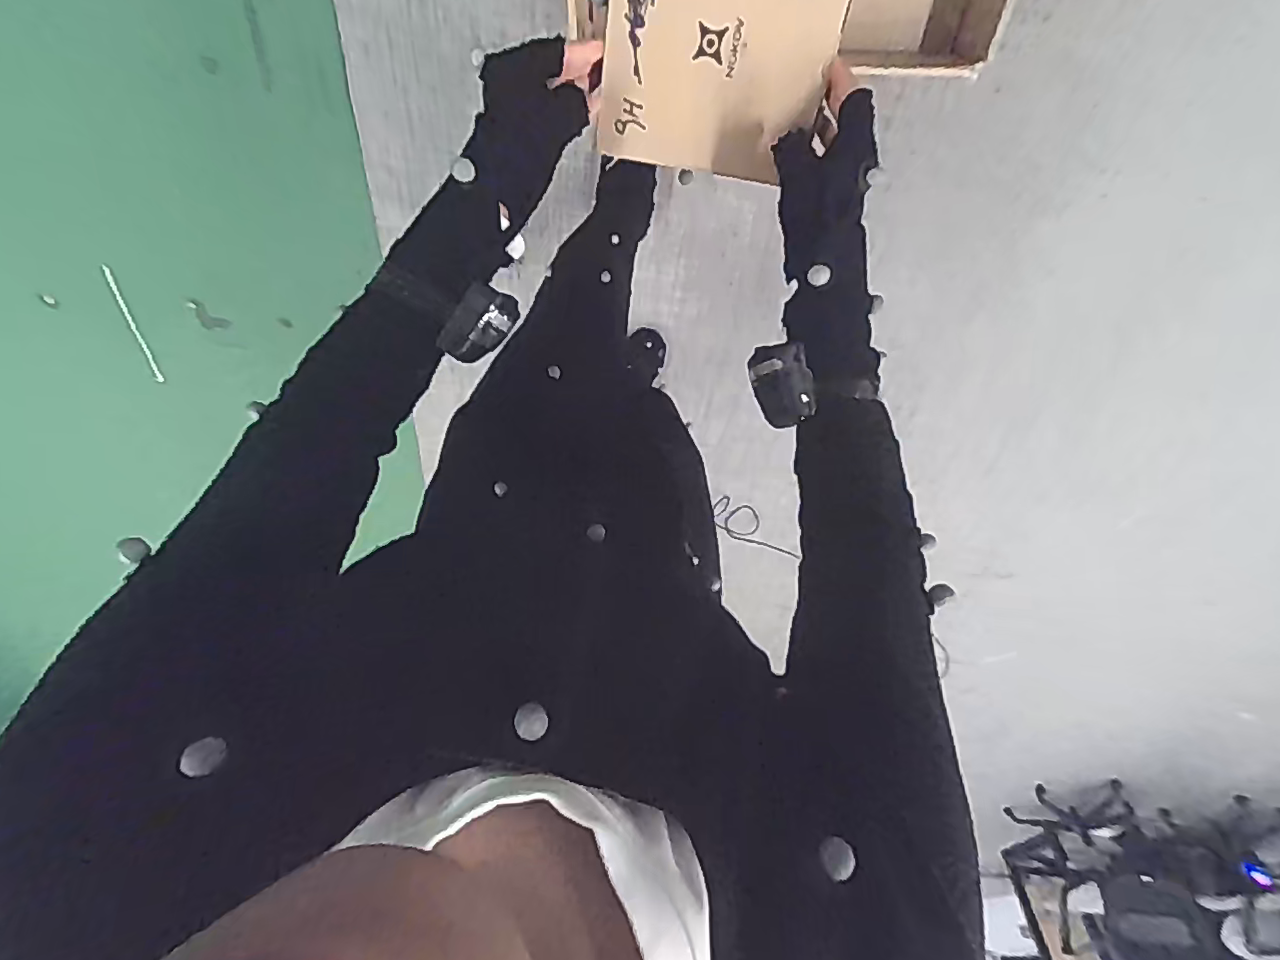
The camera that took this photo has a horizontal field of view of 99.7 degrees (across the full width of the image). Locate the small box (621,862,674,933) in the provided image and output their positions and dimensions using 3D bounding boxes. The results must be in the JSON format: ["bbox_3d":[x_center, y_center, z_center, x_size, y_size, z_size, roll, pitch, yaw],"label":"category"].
[{"bbox_3d":[0.031,1.450,1.879,0.179,0.176,0.168,0,132,5],"label":"small box"}]

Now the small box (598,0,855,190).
[{"bbox_3d":[0.064,-0.369,0.475,0.179,0.176,0.168,8,122,-5],"label":"small box"}]
